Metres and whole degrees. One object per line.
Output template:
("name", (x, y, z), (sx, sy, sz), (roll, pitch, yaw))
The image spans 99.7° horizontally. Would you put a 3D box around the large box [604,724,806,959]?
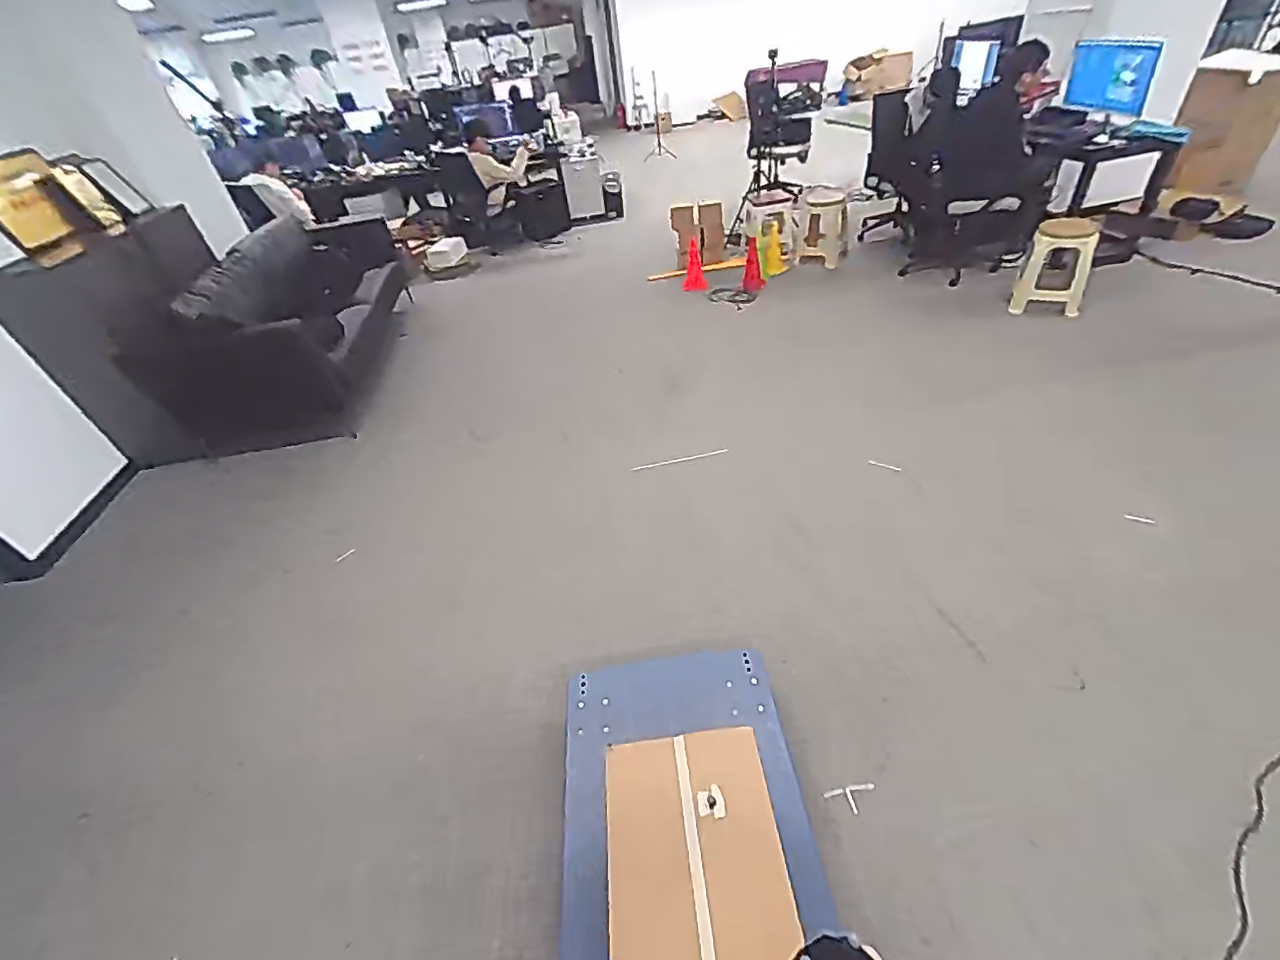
("large box", (0.112, 0.776, 1.083), (0.320, 0.320, 0.408), (-8, 39, 1))
